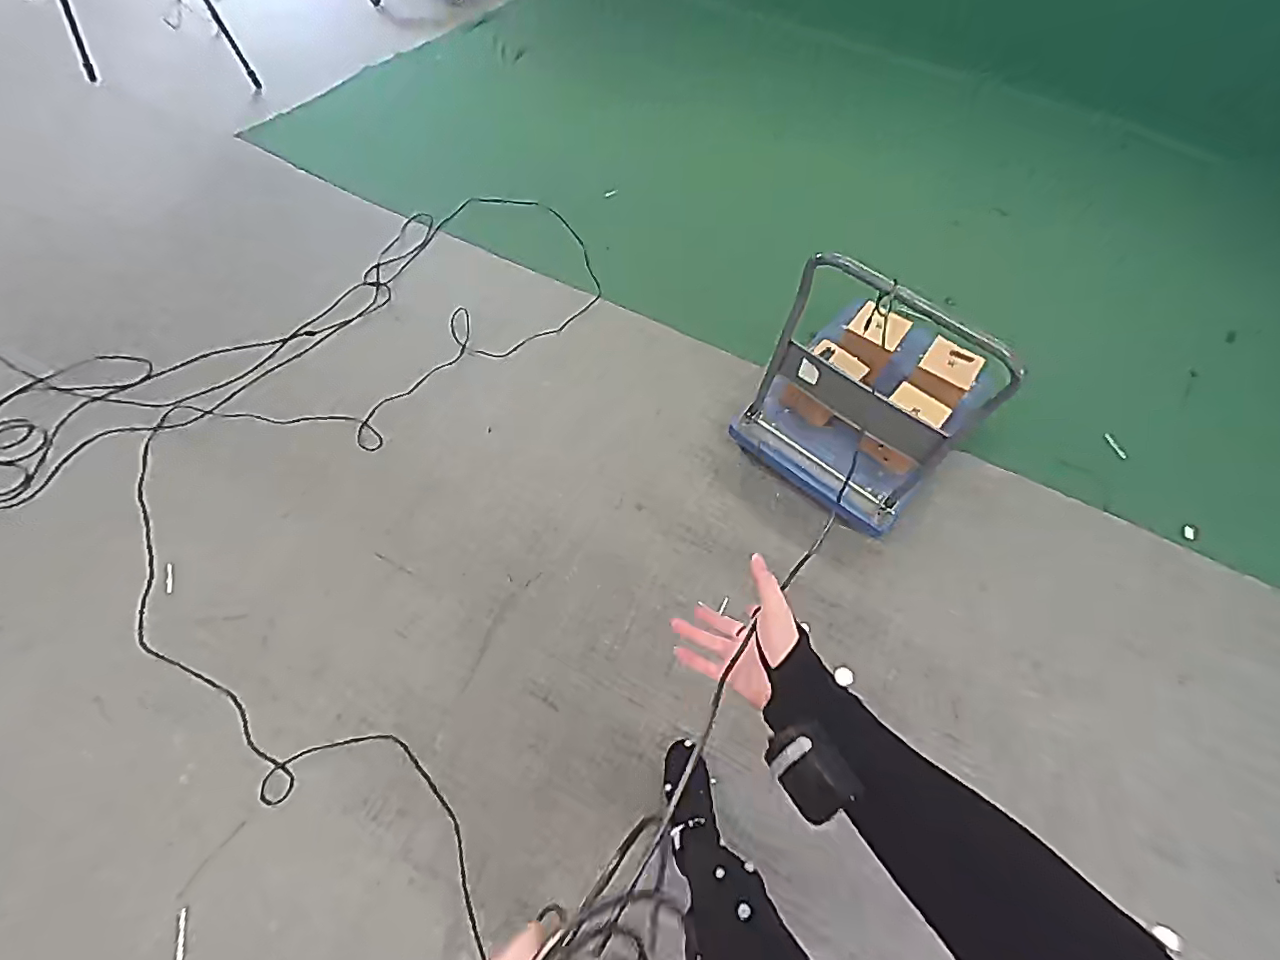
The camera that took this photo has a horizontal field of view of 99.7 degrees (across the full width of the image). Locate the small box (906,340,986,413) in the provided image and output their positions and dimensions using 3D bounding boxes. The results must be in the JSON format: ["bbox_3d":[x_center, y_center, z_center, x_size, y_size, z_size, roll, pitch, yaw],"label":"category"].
[{"bbox_3d":[0.989,-0.321,1.783,0.168,0.176,0.179,34,63,17],"label":"small box"}]

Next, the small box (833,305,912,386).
[{"bbox_3d":[0.789,-0.456,1.852,0.168,0.176,0.179,35,62,15],"label":"small box"}]

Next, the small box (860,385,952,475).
[{"bbox_3d":[0.812,-0.151,1.669,0.168,0.176,0.179,39,64,18],"label":"small box"}]
